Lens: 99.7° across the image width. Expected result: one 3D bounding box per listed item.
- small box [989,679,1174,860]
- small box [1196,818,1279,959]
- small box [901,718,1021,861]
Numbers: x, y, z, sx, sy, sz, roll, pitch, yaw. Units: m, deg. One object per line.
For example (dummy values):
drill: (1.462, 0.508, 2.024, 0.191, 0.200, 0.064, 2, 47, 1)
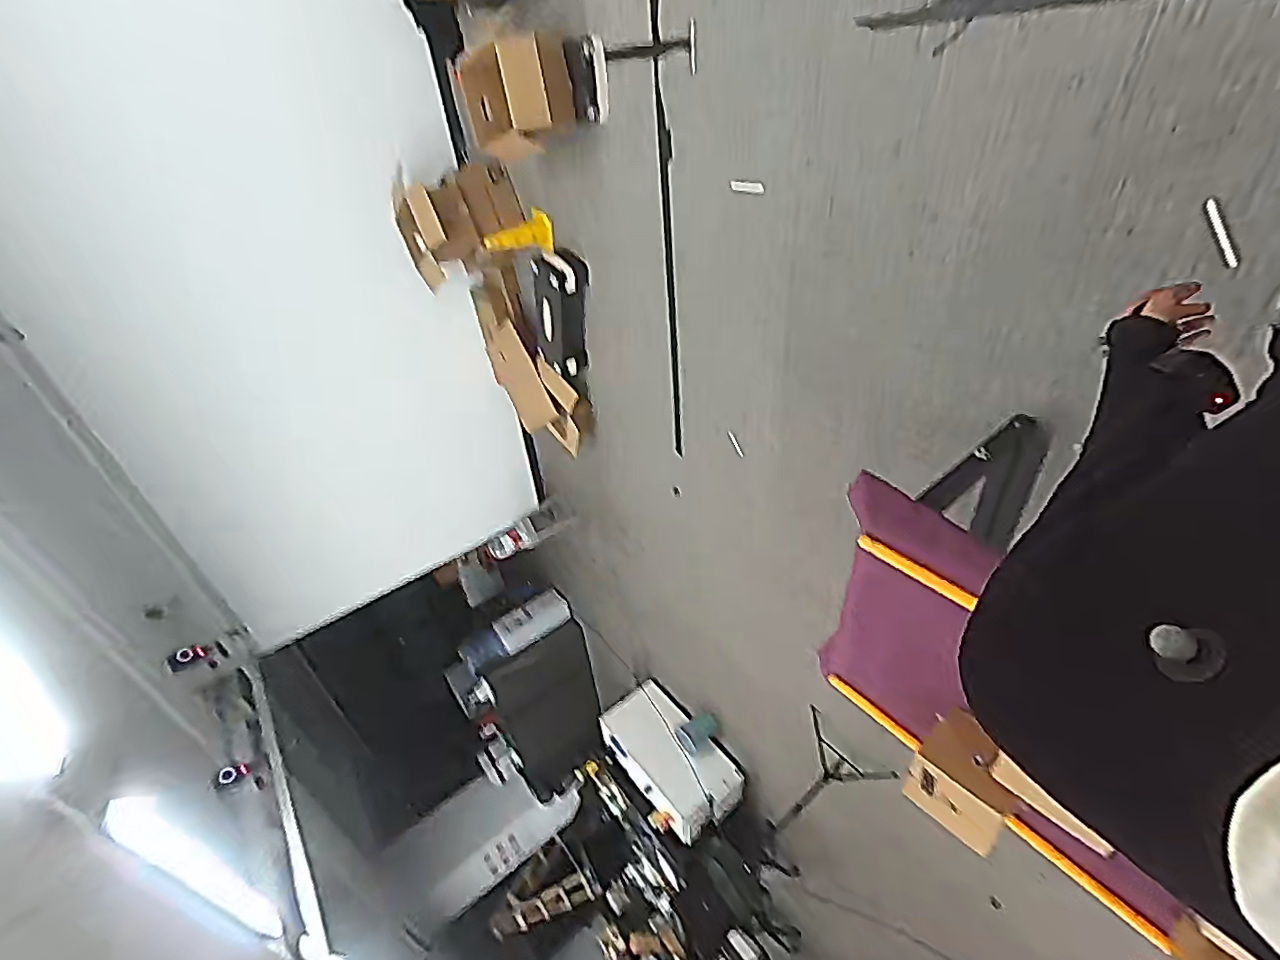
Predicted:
small box: (0.742, 0.478, 0.914, 0.179, 0.176, 0.168, 34, 142, 43)
small box: (0.918, 0.600, 0.725, 0.168, 0.176, 0.179, 34, 142, 42)
small box: (0.692, 0.637, 1.141, 0.179, 0.176, 0.168, 31, 138, 43)
